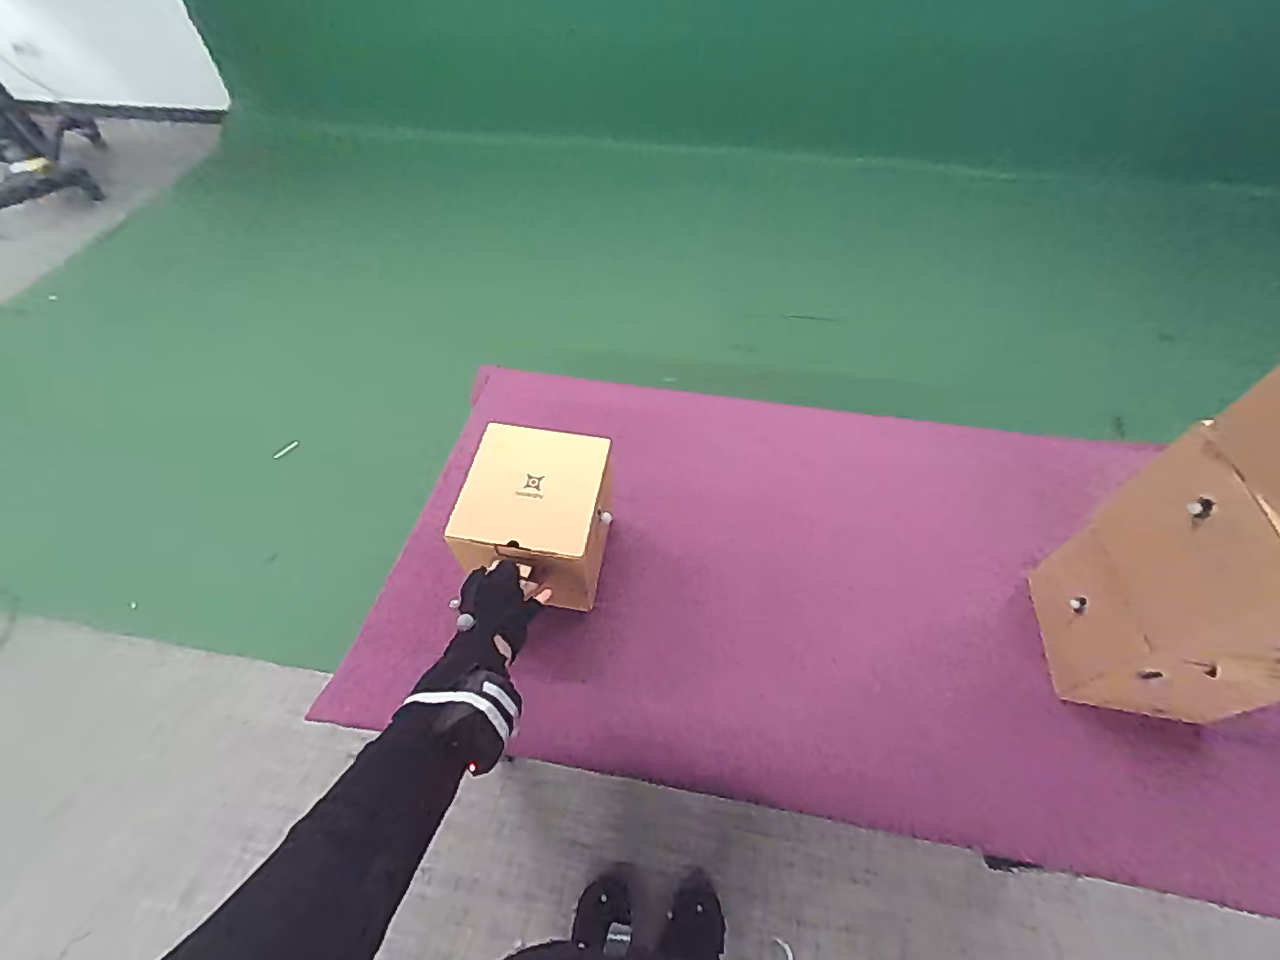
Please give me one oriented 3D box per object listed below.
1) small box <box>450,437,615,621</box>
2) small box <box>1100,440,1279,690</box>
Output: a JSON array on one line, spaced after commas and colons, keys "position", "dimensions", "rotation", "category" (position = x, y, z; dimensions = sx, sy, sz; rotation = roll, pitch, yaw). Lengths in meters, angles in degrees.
[{"position": [-0.131, 0.070, 0.732], "dimensions": [0.168, 0.176, 0.179], "rotation": [9, 57, 4], "category": "small box"}, {"position": [0.606, 0.086, 0.524], "dimensions": [0.168, 0.176, 0.179], "rotation": [5, 53, 6], "category": "small box"}]
